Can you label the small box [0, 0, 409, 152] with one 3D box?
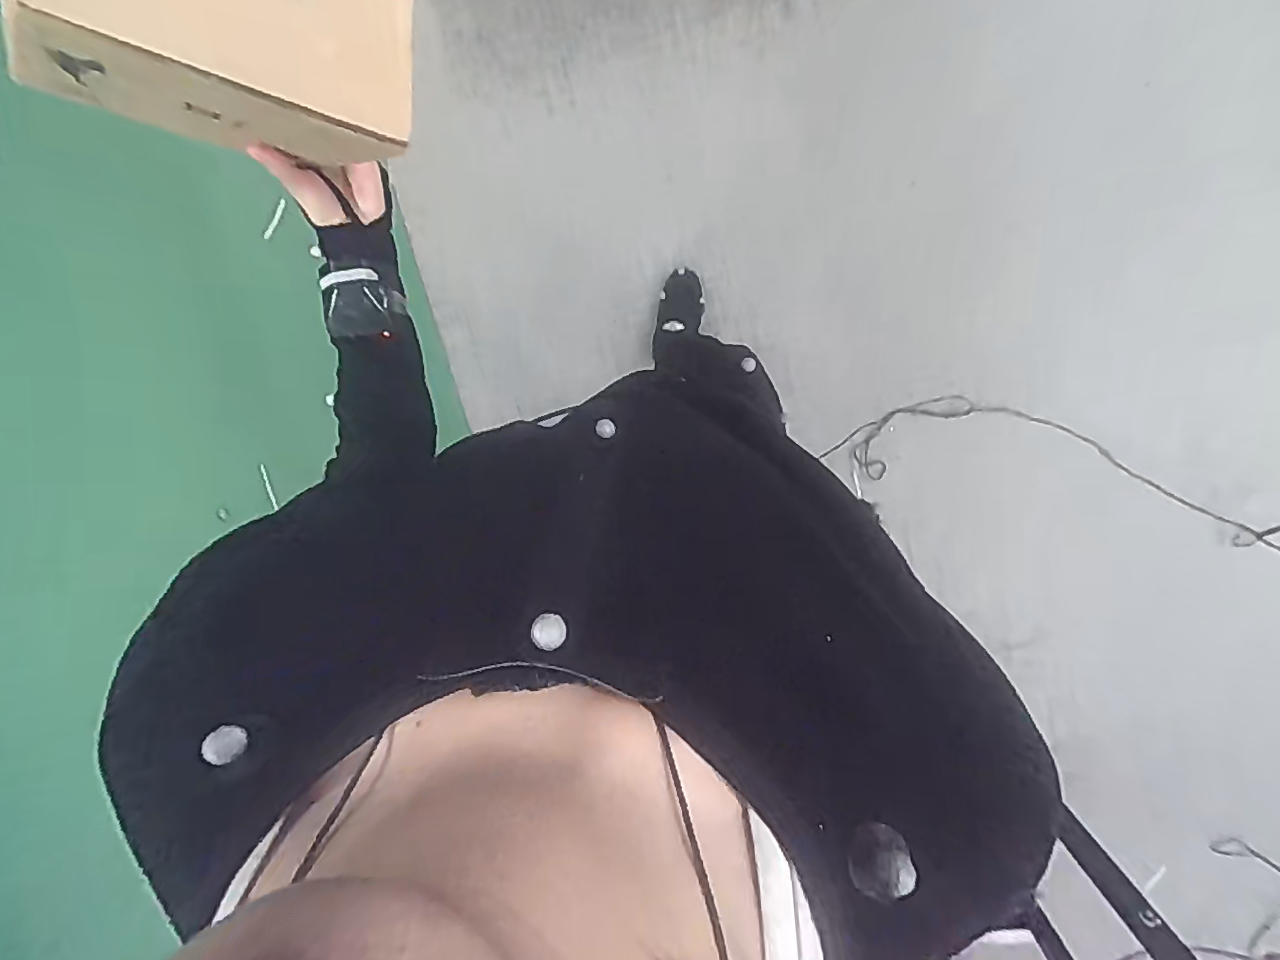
[{"bbox_3d":[-0.252,-0.315,0.309,0.168,0.179,0.176,19,109,38],"label":"small box"}]
